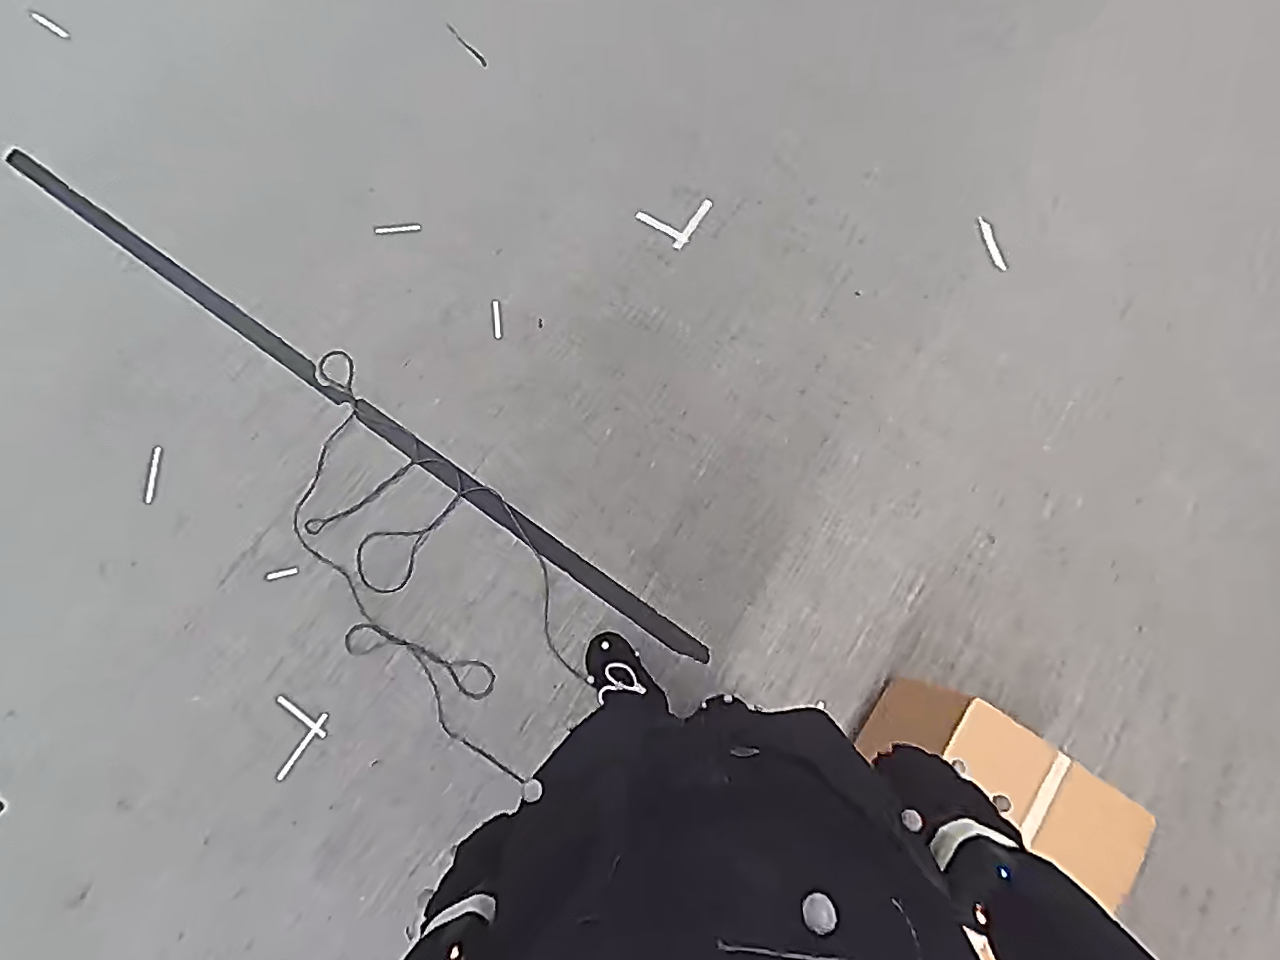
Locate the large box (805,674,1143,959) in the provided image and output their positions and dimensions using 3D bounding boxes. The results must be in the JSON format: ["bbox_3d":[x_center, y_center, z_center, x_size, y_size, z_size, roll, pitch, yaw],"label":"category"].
[{"bbox_3d":[0.563,0.625,0.981,0.320,0.320,0.408,34,79,8],"label":"large box"}]
